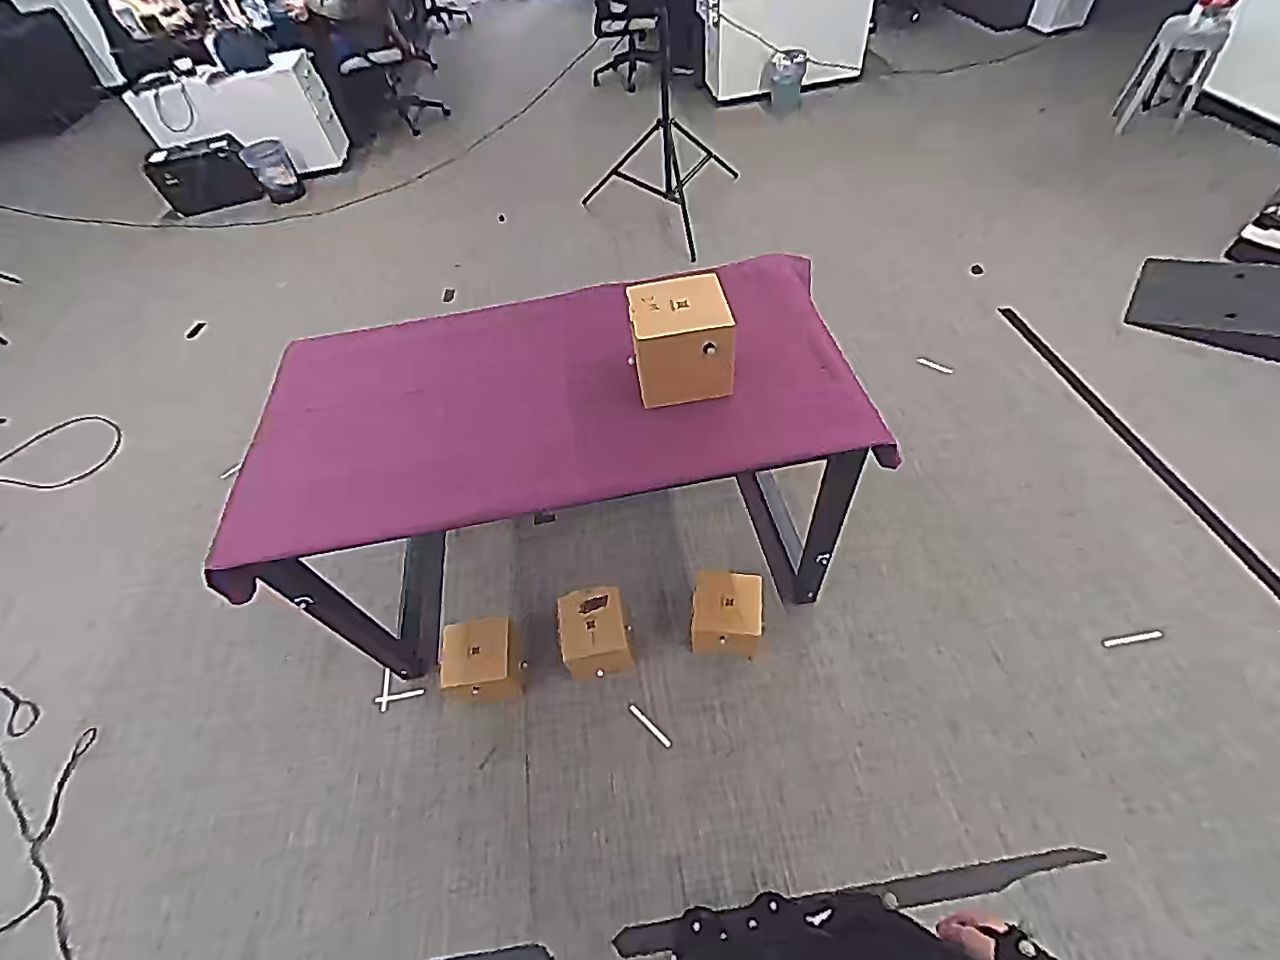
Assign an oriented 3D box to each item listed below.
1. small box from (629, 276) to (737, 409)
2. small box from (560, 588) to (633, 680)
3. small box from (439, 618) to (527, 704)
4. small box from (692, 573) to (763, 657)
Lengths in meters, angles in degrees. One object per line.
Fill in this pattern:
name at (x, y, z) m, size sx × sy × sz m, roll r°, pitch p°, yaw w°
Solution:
small box at (0.080, -0.259, 1.032) m, size 0.179 × 0.176 × 0.168 m, roll -9°, pitch 52°, yaw 1°
small box at (-0.116, 0.419, 1.463) m, size 0.168 × 0.176 × 0.179 m, roll -11°, pitch 53°, yaw -1°
small box at (-0.413, 0.490, 1.449) m, size 0.179 × 0.176 × 0.168 m, roll -8°, pitch 53°, yaw 0°
small box at (0.237, 0.368, 1.459) m, size 0.179 × 0.176 × 0.168 m, roll 2°, pitch 54°, yaw 10°
